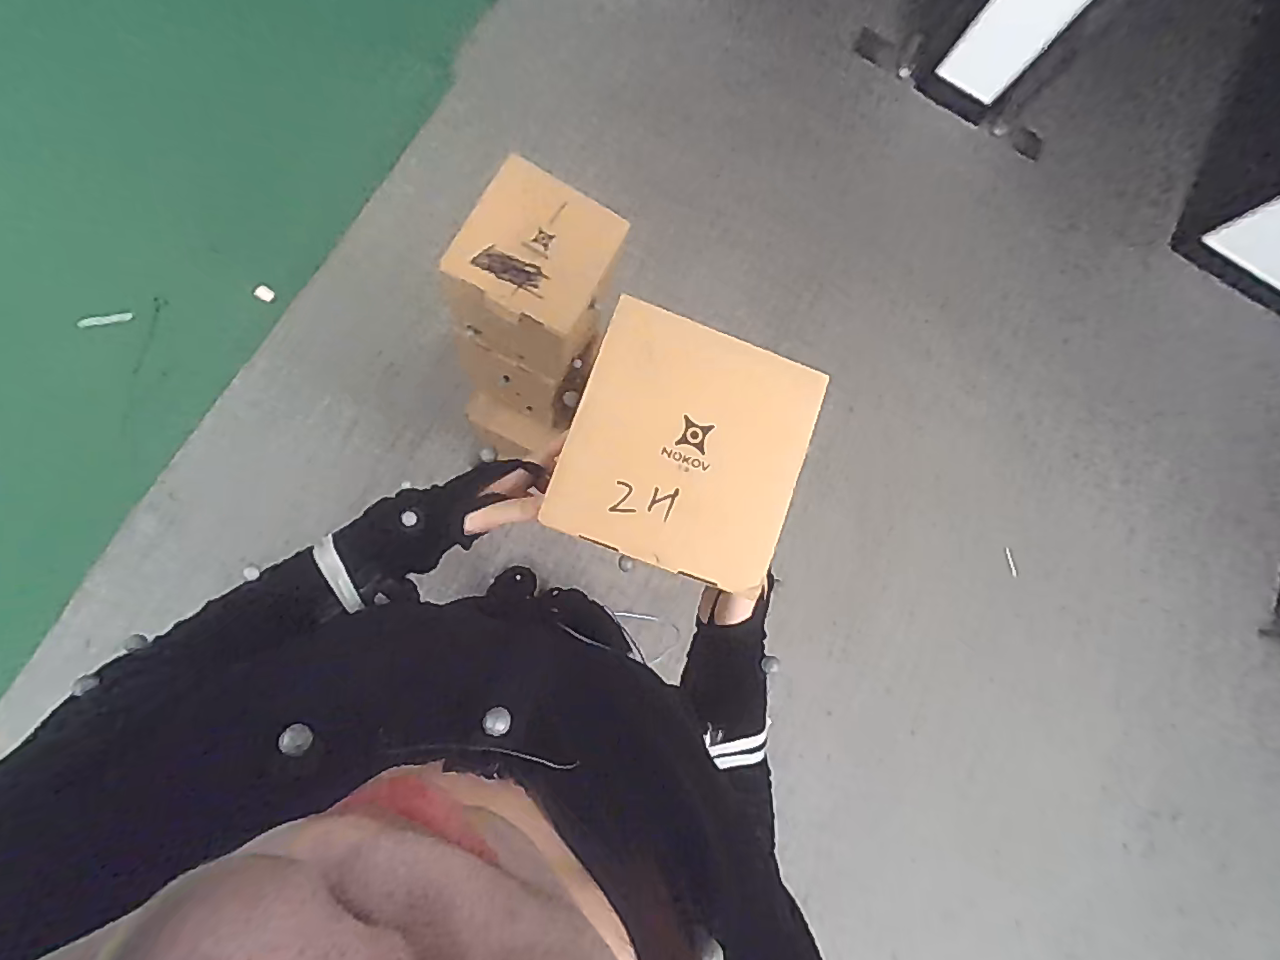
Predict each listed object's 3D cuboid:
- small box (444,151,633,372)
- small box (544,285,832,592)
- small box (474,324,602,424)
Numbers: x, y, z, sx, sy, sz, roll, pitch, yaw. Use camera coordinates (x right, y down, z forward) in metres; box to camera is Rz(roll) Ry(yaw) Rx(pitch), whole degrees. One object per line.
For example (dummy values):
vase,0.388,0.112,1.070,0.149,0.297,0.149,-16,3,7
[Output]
small box,-0.129,-0.270,0.711,0.168,0.176,0.179,28,77,-7
small box,0.028,-0.025,0.456,0.168,0.176,0.179,20,85,-4
small box,-0.191,-0.229,1.032,0.168,0.176,0.179,30,78,-6
